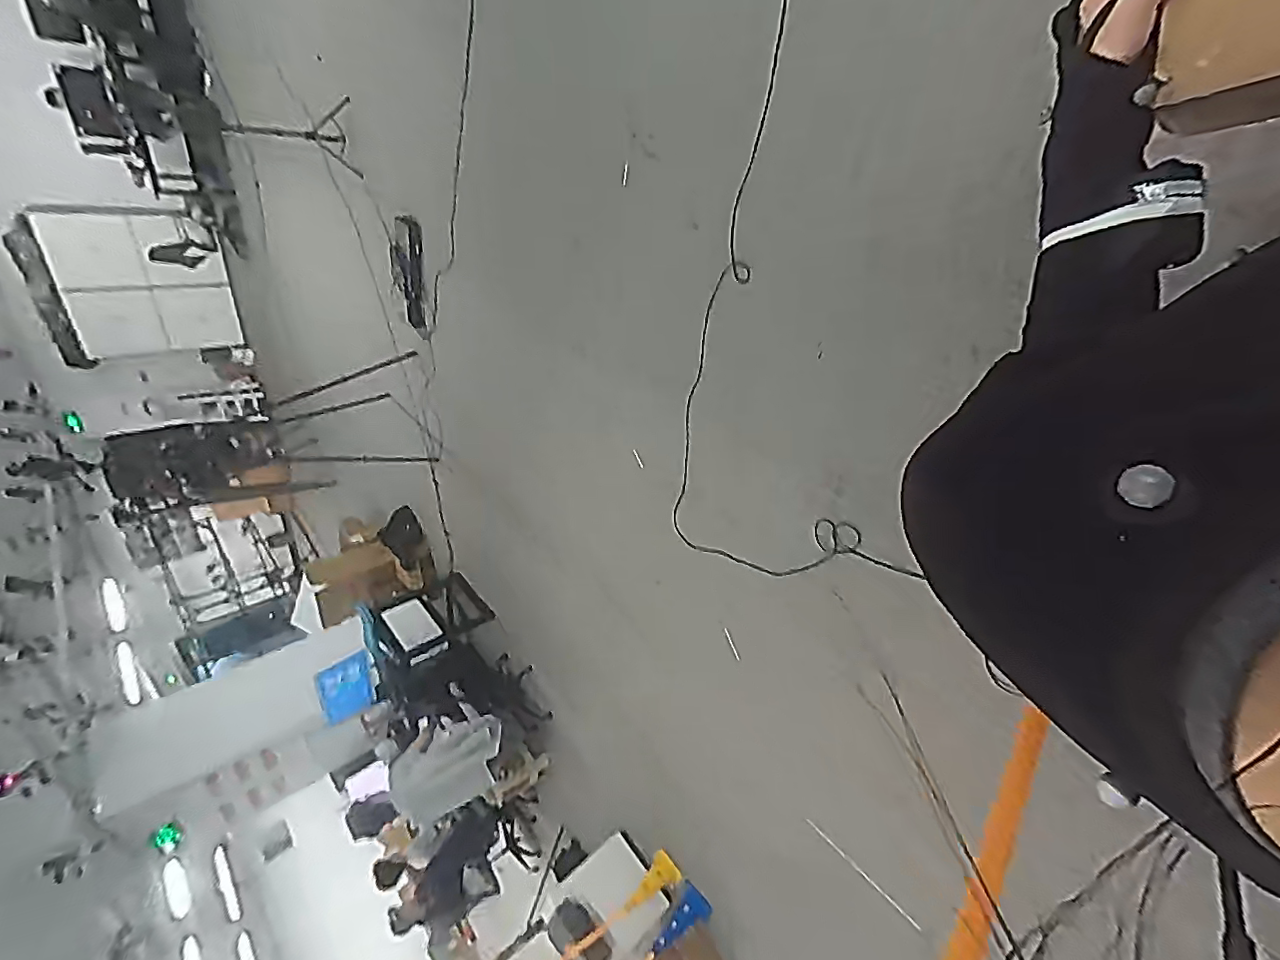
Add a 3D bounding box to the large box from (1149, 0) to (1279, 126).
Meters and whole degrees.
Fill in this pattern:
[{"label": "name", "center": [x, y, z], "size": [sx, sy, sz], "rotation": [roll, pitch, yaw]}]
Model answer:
[{"label": "large box", "center": [0.582, -0.439, 0.292], "size": [0.408, 0.320, 0.320], "rotation": [10, 116, 45]}]
